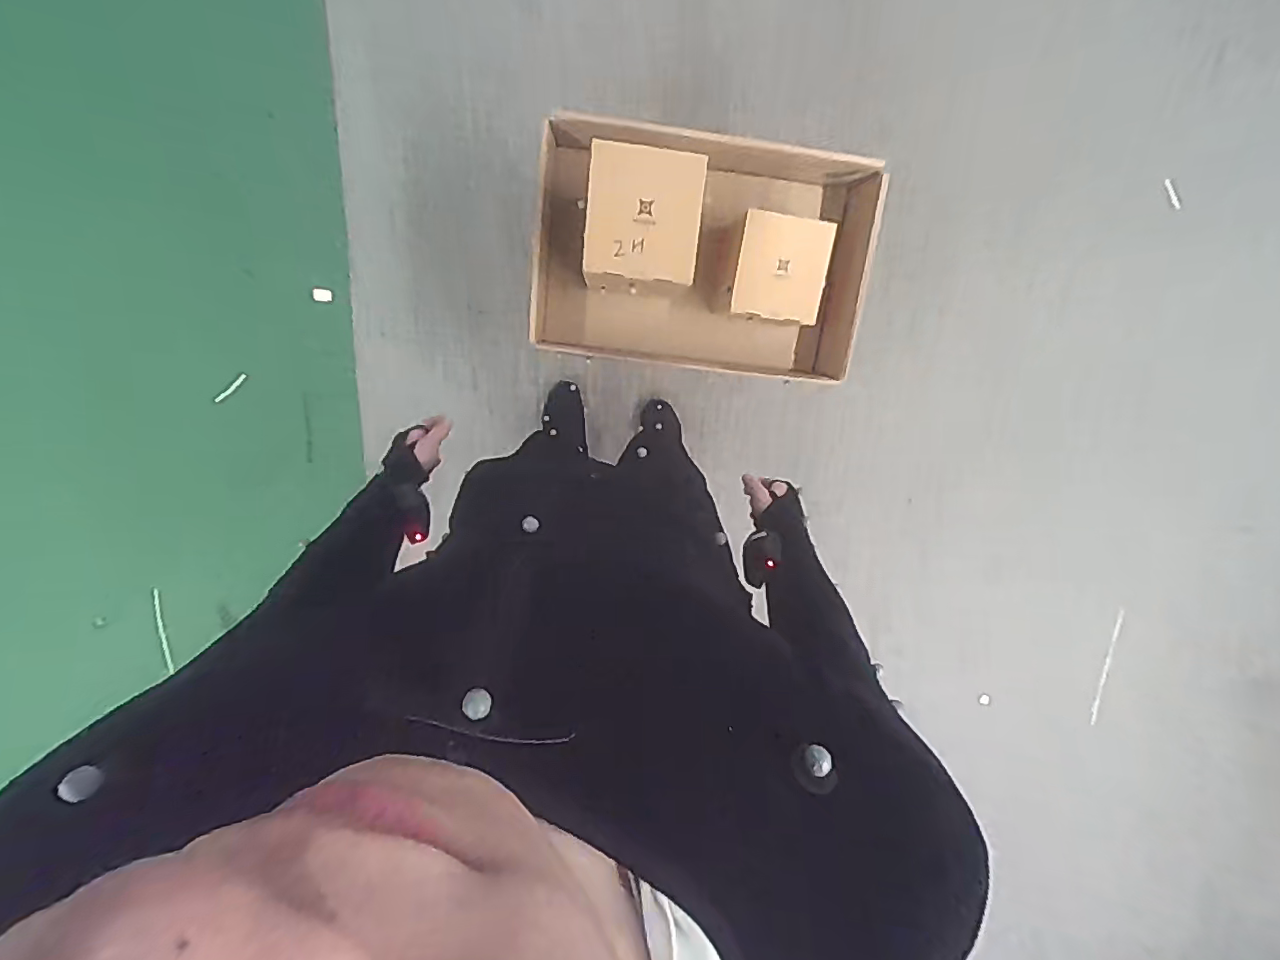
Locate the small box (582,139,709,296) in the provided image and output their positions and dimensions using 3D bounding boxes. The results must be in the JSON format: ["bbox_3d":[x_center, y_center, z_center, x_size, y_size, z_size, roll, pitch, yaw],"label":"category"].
[{"bbox_3d":[0.000,-0.393,0.841,0.168,0.176,0.179,5,104,-5],"label":"small box"}]
